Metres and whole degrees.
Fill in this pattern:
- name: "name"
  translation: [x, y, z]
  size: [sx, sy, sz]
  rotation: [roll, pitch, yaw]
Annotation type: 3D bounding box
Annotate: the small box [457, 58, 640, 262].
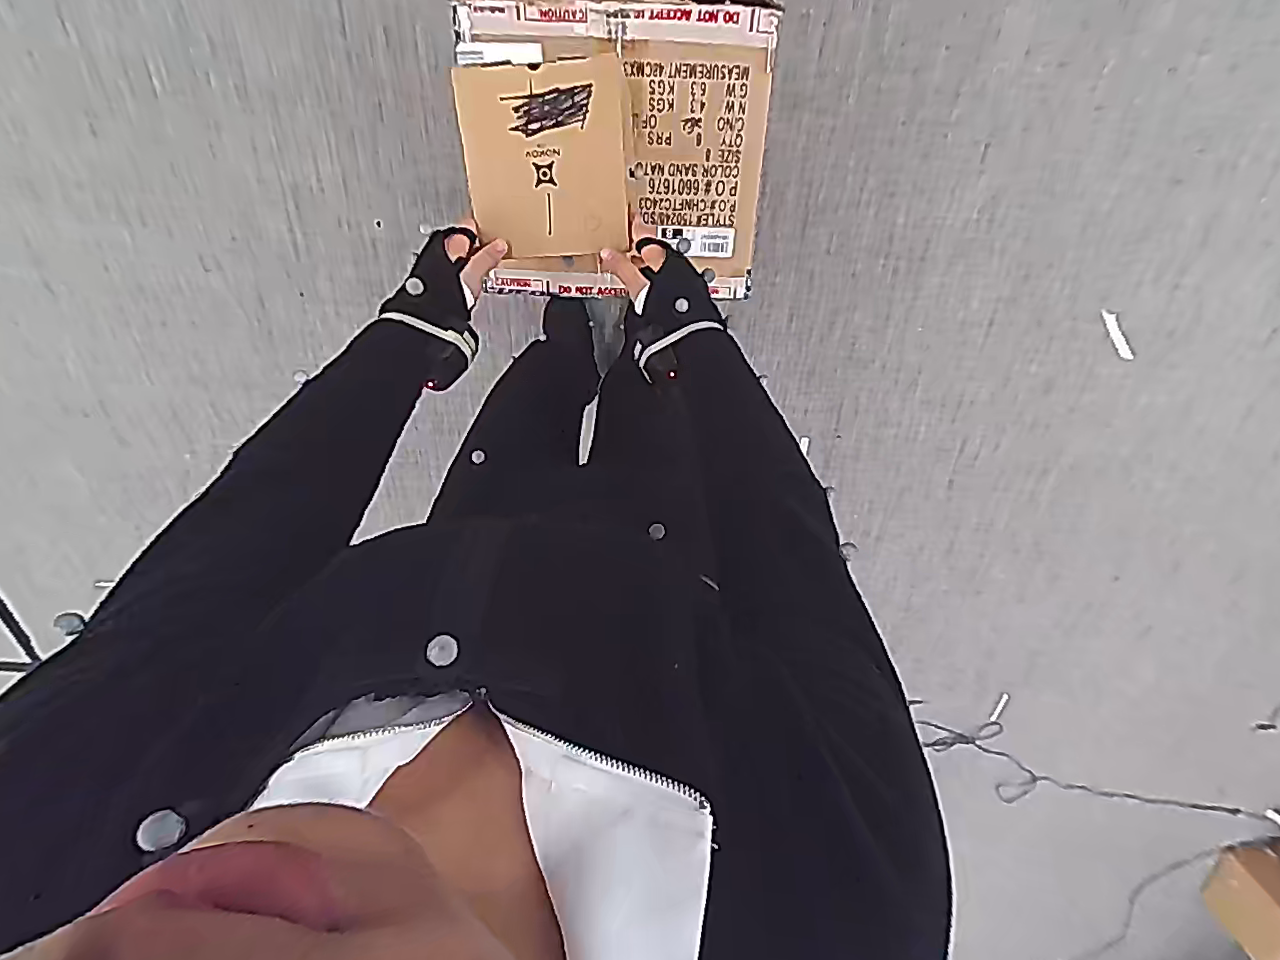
- name: "small box"
  translation: [-0.089, -0.349, 0.623]
  size: [0.168, 0.176, 0.179]
  rotation: [-2, 113, 5]
